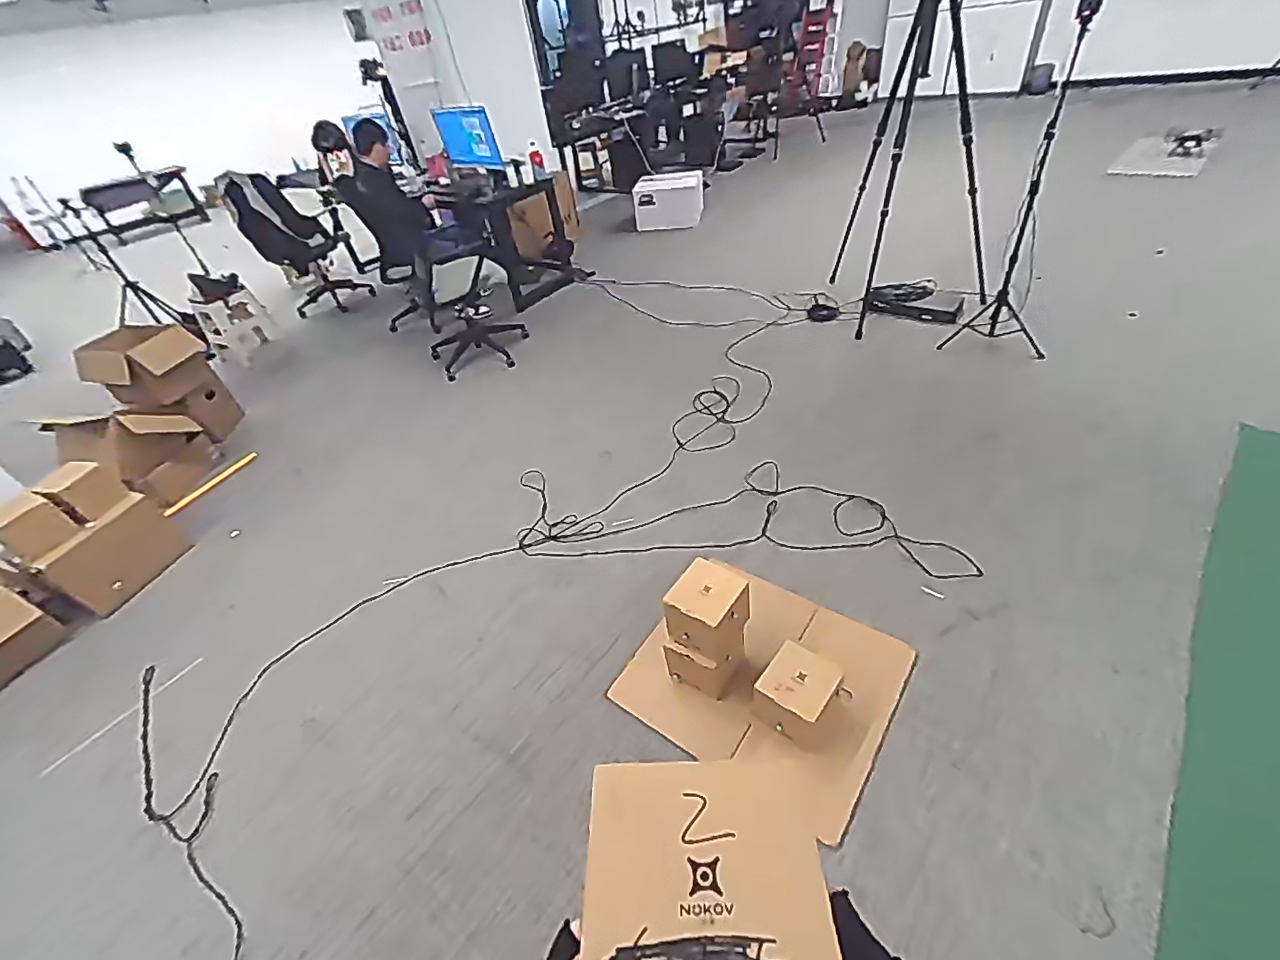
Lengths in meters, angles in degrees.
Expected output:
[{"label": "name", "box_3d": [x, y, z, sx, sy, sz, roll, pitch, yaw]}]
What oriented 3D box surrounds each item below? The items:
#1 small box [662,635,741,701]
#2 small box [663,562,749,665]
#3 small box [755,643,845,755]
[{"label": "small box", "box_3d": [0.185, 0.500, 1.561, 0.168, 0.176, 0.179, 19, 48, 31]}, {"label": "small box", "box_3d": [0.182, 0.362, 1.470, 0.168, 0.176, 0.179, 21, 49, 32]}, {"label": "small box", "box_3d": [0.416, 0.576, 1.423, 0.168, 0.176, 0.179, 24, 52, 36]}]
